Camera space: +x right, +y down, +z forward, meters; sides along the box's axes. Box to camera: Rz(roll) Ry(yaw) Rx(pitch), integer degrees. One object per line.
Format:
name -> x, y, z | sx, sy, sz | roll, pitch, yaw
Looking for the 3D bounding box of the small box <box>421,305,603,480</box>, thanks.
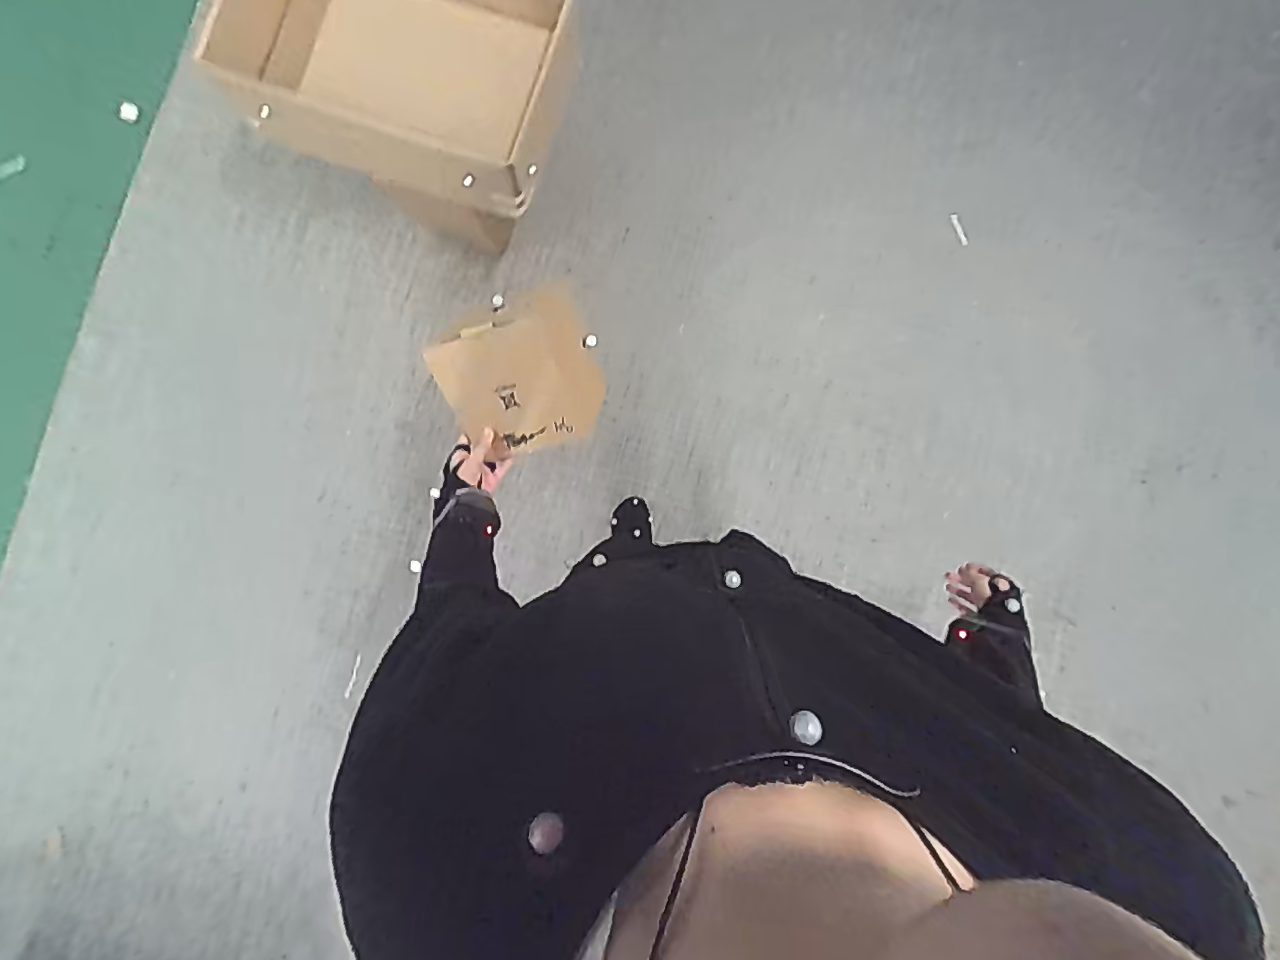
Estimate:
small box -> -0.165, -0.131, 0.761 | 0.168, 0.176, 0.179 | -14, 121, 15
